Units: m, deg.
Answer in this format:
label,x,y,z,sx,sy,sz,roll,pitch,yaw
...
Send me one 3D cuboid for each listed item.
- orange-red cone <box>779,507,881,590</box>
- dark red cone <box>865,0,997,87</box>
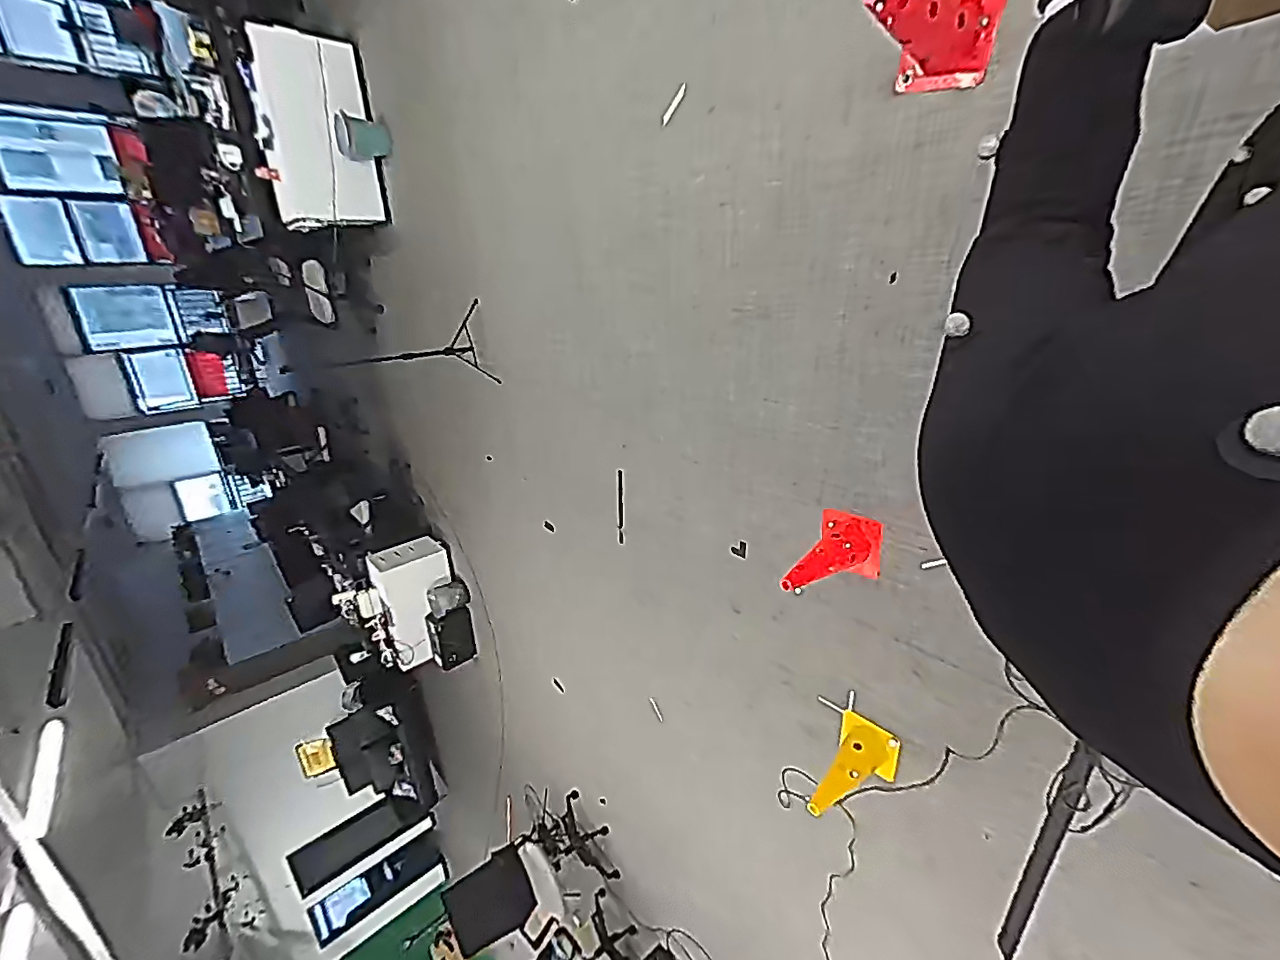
label,x,y,z,sx,sy,sz,roll,pitch,yaw
orange-red cone,0.539,0.246,1.619,0.198,0.360,0.199,19,121,46
dark red cone,0.535,-0.932,1.067,0.201,0.394,0.202,27,126,40
